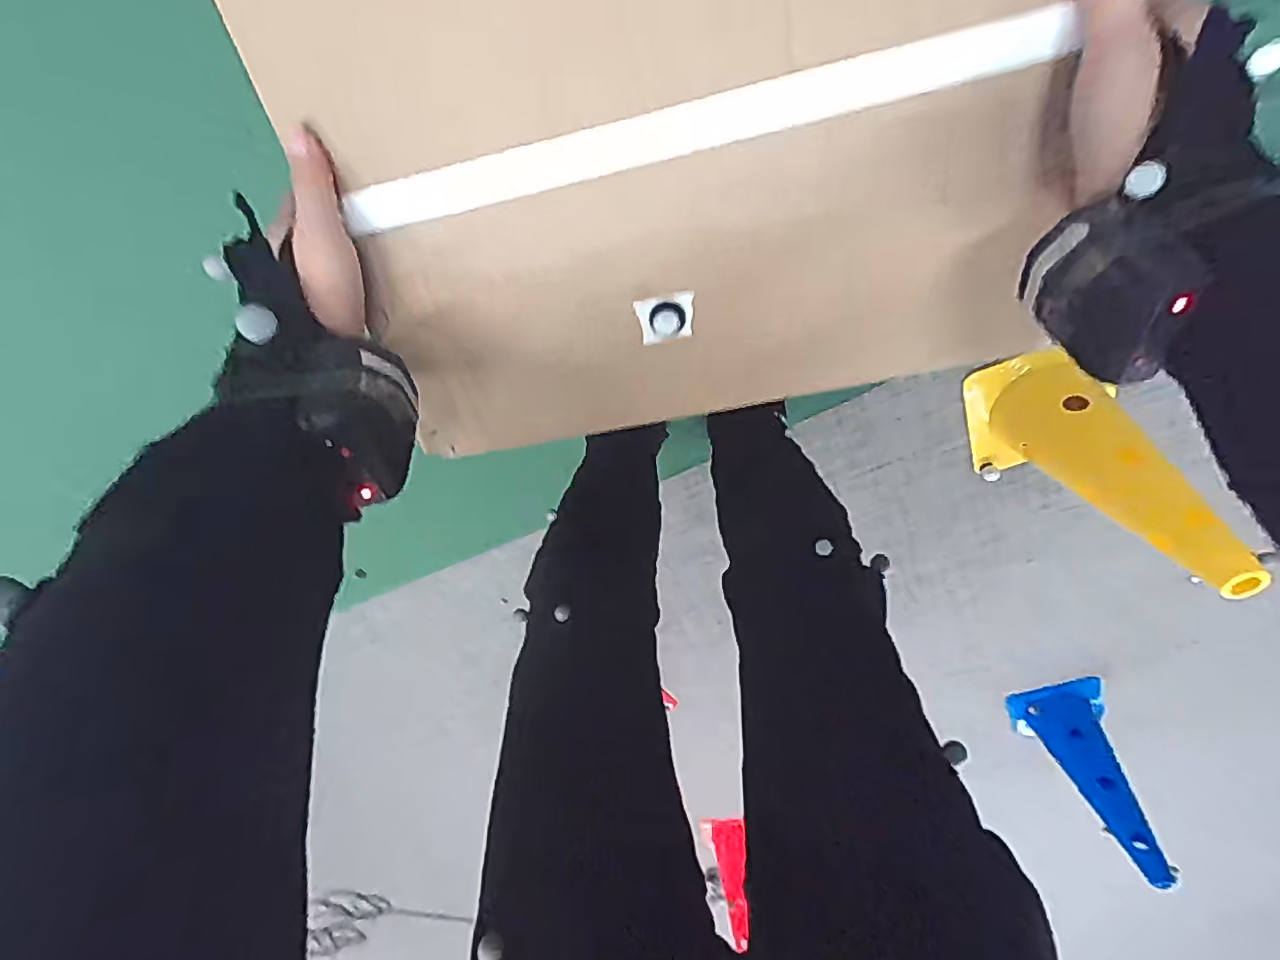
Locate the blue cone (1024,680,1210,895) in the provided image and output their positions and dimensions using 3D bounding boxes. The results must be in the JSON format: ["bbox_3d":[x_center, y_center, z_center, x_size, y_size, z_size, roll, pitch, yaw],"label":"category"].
[{"bbox_3d":[0.996,0.631,1.120,0.192,0.380,0.193,-24,122,17],"label":"blue cone"}]

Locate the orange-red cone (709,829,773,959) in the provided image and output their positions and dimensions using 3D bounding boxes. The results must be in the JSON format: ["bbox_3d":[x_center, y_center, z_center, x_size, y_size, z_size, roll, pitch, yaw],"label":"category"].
[{"bbox_3d":[0.314,1.253,1.574,0.199,0.360,0.198,-6,124,8],"label":"orange-red cone"}]
